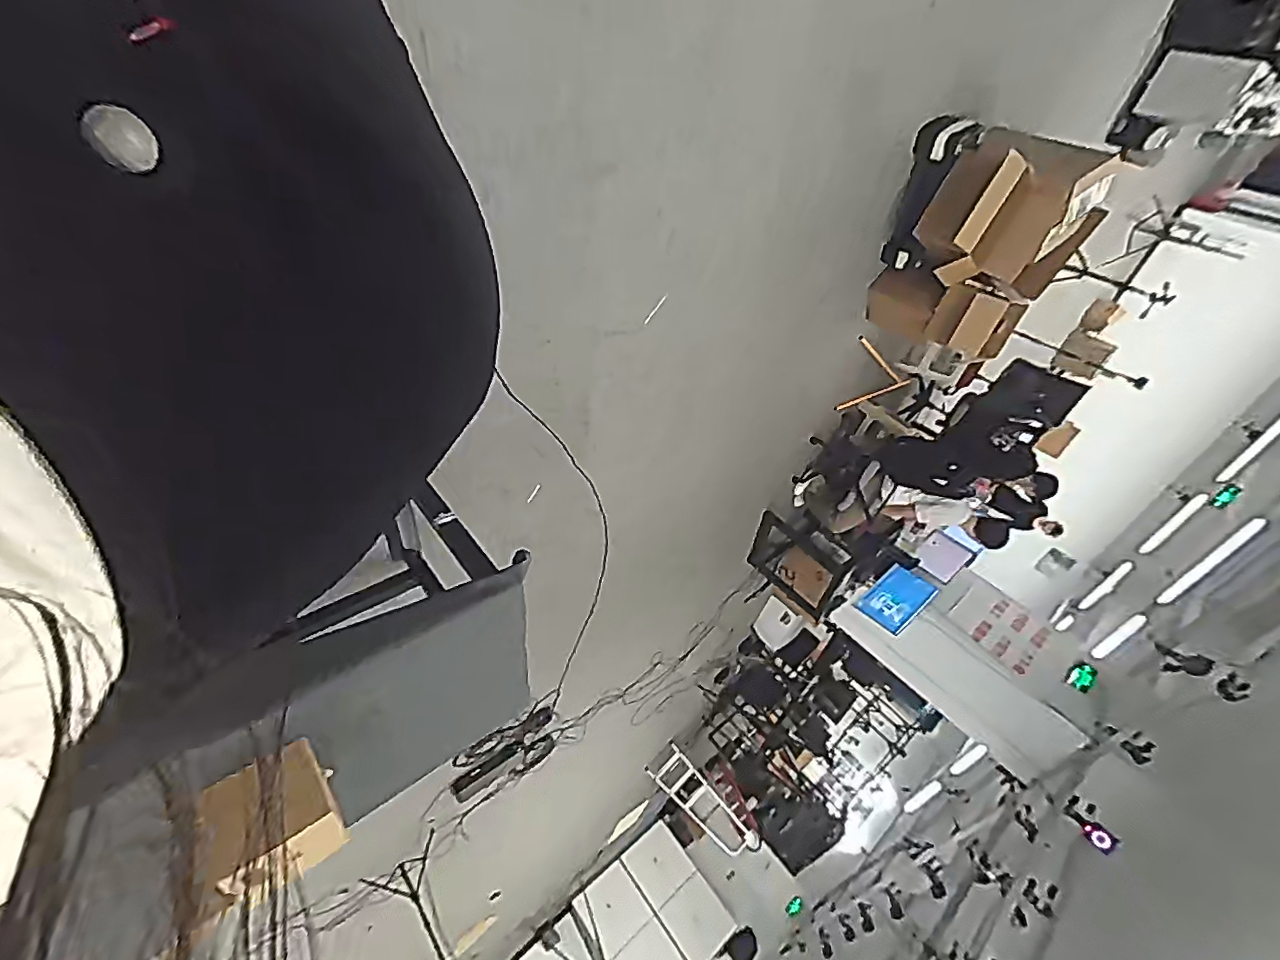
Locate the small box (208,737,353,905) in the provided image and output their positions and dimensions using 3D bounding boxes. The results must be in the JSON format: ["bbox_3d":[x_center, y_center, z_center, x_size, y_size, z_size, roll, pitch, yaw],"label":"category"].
[{"bbox_3d":[-0.669,0.626,1.006,0.179,0.176,0.168,-25,142,-36],"label":"small box"}]
